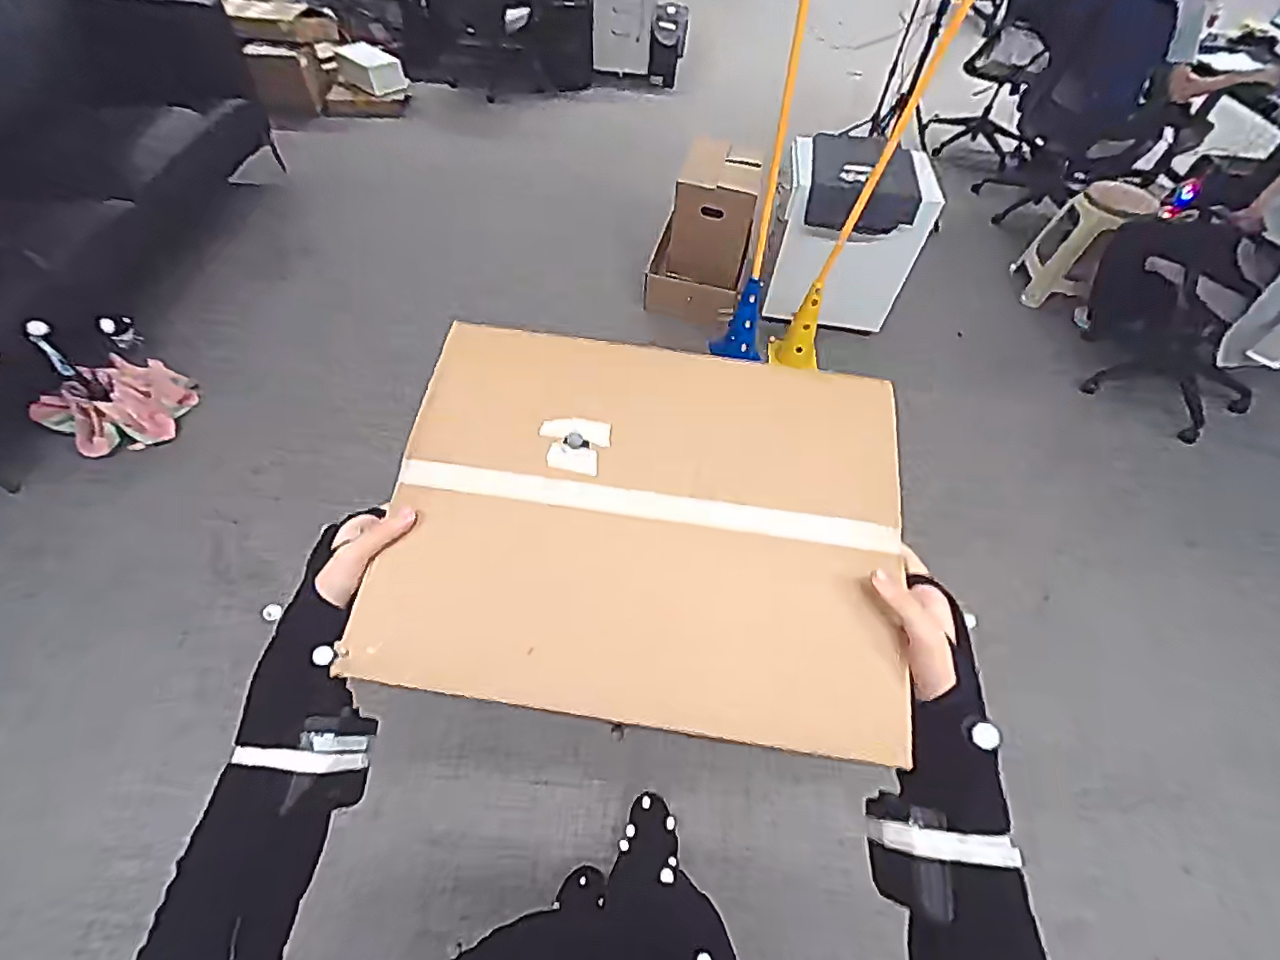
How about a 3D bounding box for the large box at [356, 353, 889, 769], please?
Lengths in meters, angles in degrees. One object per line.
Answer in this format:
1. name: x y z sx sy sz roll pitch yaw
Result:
1. large box: 0.004 0.099 0.588 0.408 0.320 0.320 9 66 3
